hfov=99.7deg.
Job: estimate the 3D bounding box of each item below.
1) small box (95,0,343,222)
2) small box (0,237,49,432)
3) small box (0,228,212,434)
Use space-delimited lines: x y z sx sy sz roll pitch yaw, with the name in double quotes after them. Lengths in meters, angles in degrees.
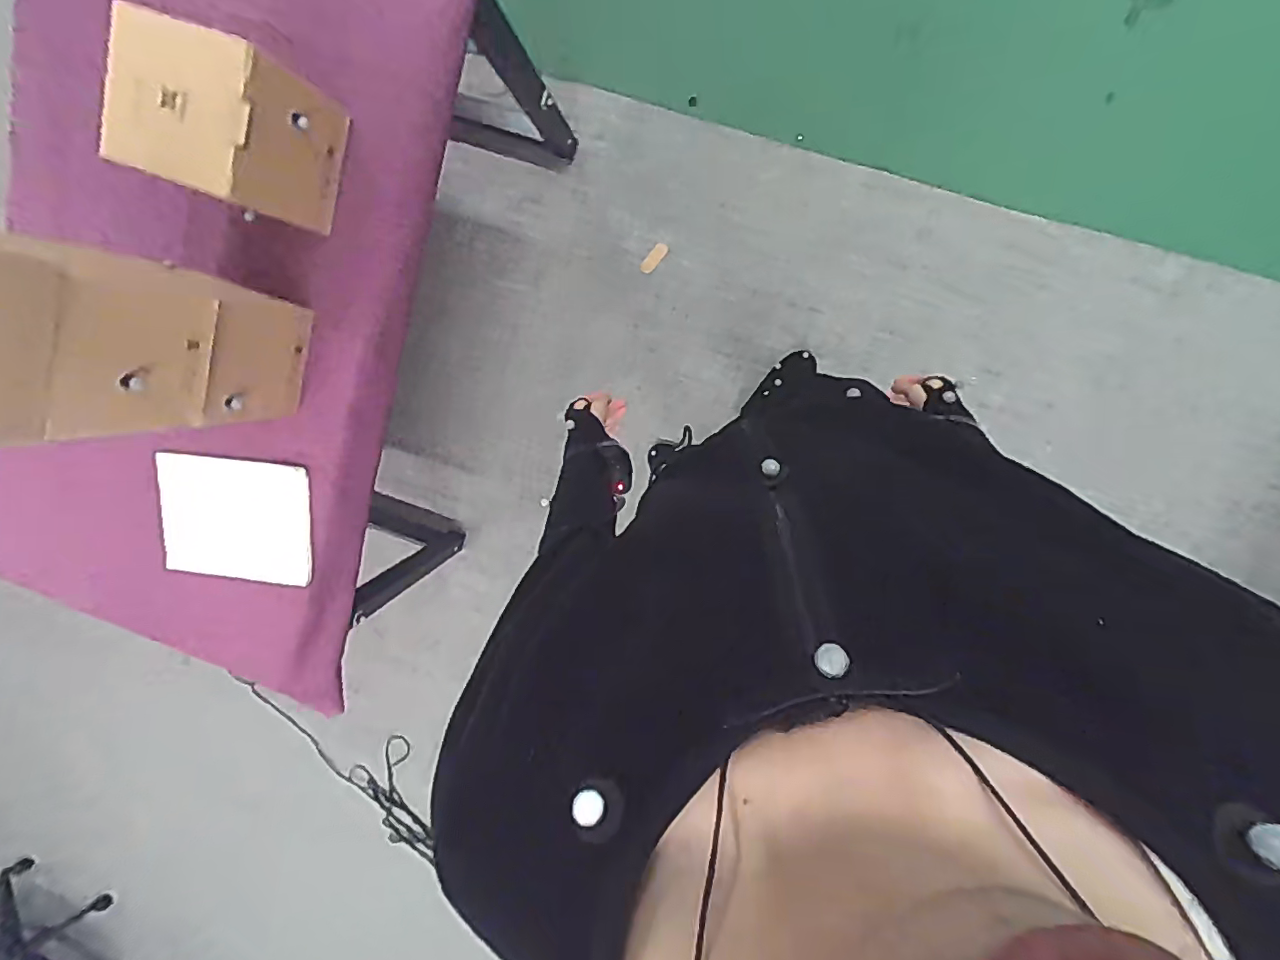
-0.514 -0.447 0.681 0.179 0.176 0.168 21 103 4 "small box"
-0.629 -0.138 0.420 0.168 0.176 0.179 23 104 4 "small box"
-0.615 -0.164 0.583 0.179 0.176 0.168 21 103 4 "small box"
